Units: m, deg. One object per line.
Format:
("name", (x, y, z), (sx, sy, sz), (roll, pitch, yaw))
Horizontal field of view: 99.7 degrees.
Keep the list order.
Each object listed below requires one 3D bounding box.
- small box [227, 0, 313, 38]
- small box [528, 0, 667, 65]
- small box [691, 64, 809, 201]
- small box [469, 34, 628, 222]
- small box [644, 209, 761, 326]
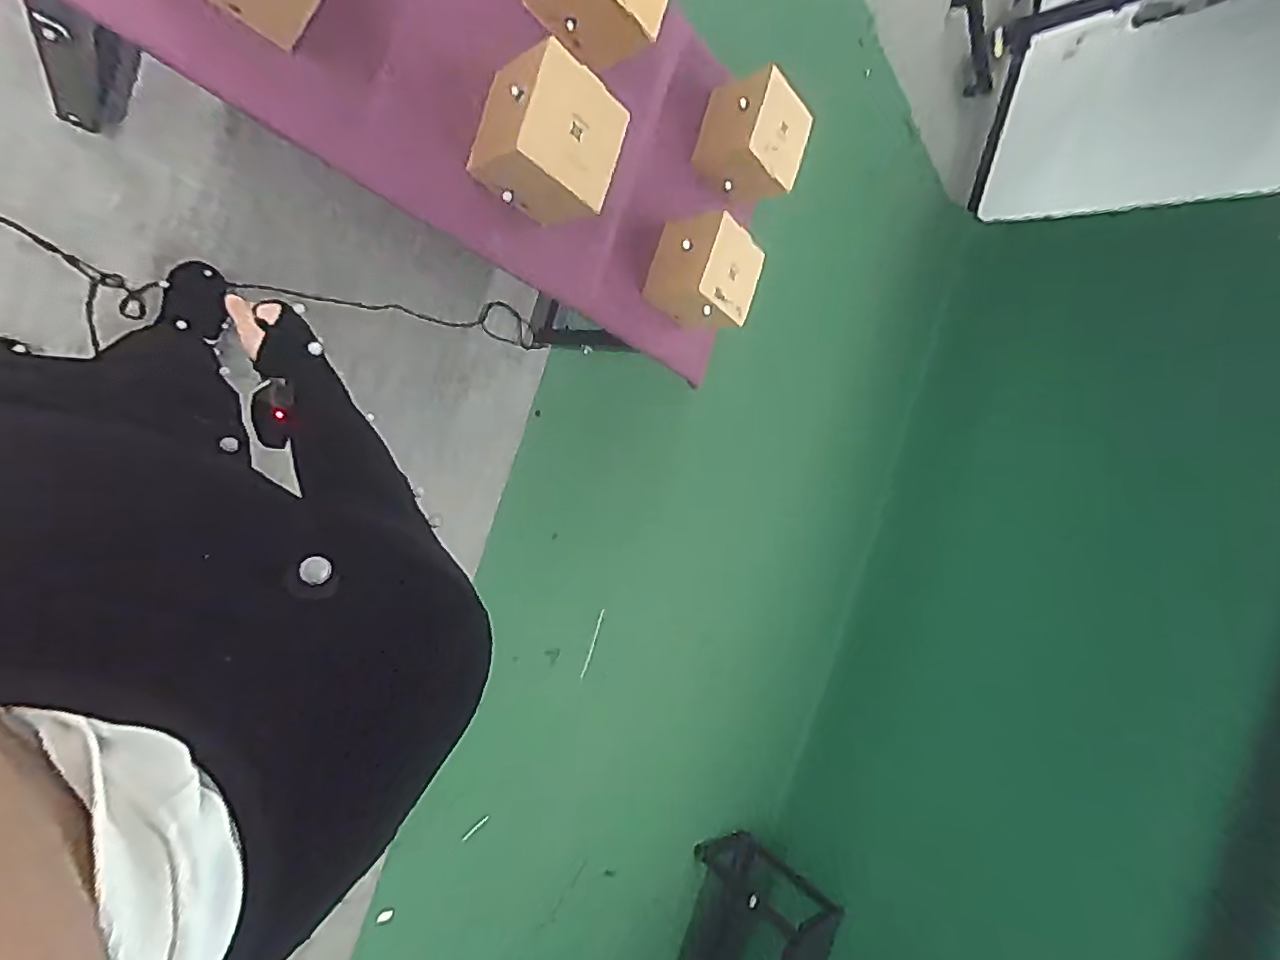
("small box", (-0.426, -0.635, 0.577), (0.168, 0.176, 0.179), (15, 90, -46))
("small box", (-0.062, -0.835, 0.881), (0.168, 0.176, 0.179), (16, 92, -46))
("small box", (0.239, -0.753, 1.194), (0.168, 0.176, 0.179), (17, 91, -43))
("small box", (-0.152, -0.552, 0.877), (0.168, 0.176, 0.179), (19, 88, -45))
("small box", (0.133, -0.453, 1.183), (0.168, 0.176, 0.179), (22, 84, -44))
